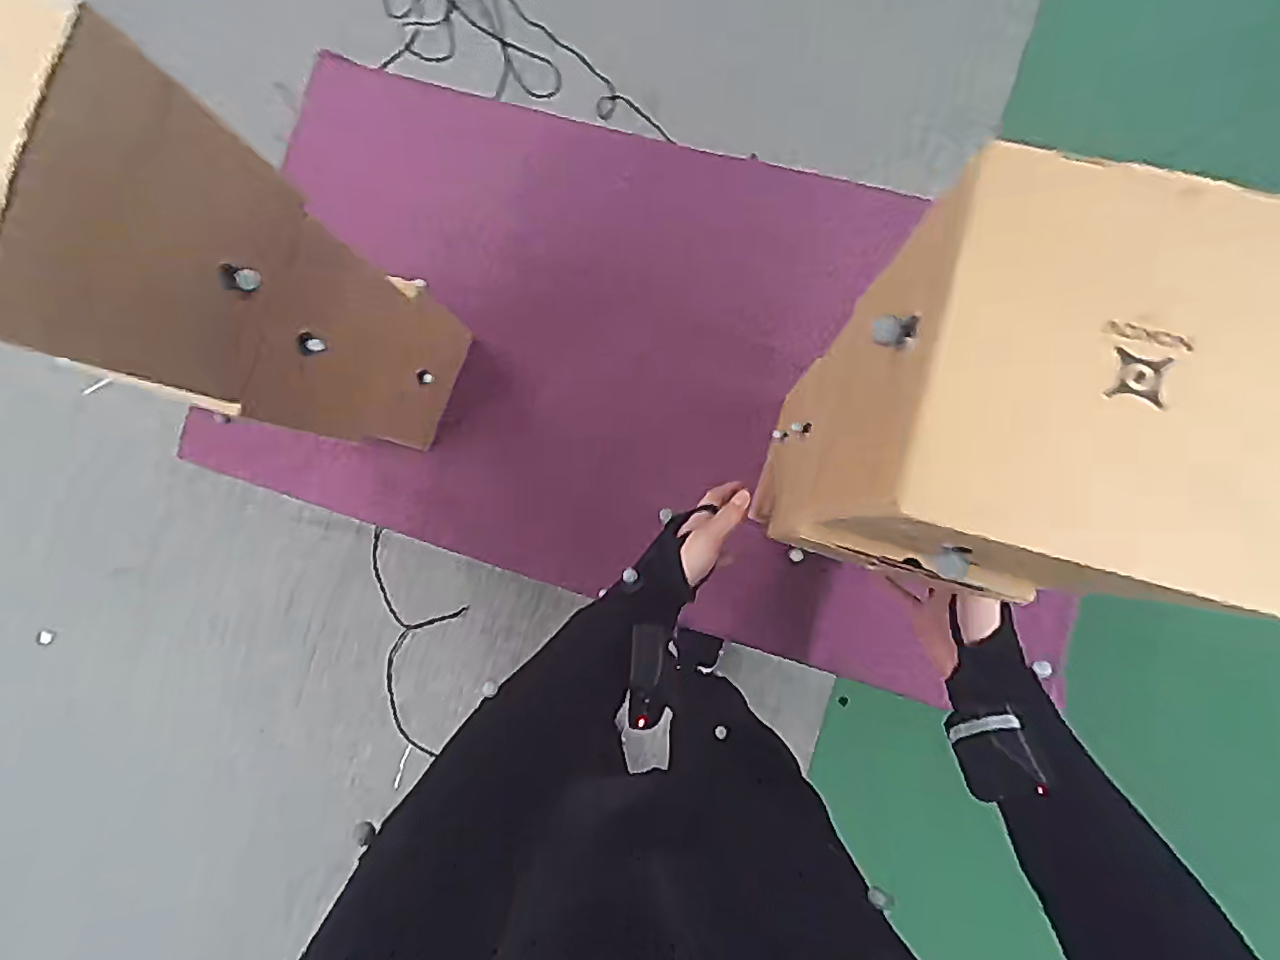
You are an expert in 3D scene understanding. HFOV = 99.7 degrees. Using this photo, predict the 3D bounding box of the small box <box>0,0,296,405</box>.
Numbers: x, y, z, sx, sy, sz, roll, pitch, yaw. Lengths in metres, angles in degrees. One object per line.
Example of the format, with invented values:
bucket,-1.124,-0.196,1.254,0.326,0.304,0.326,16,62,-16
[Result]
small box,-0.368,-0.166,0.351,0.168,0.176,0.179,17,87,5

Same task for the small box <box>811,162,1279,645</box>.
small box,0.209,-0.030,0.305,0.168,0.176,0.179,16,84,7

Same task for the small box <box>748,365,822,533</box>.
small box,0.235,-0.005,0.630,0.168,0.176,0.179,19,86,6

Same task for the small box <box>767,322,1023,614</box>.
small box,0.216,-0.003,0.465,0.168,0.176,0.179,17,85,7

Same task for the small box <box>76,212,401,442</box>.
small box,-0.359,-0.145,0.514,0.168,0.176,0.179,18,87,5
